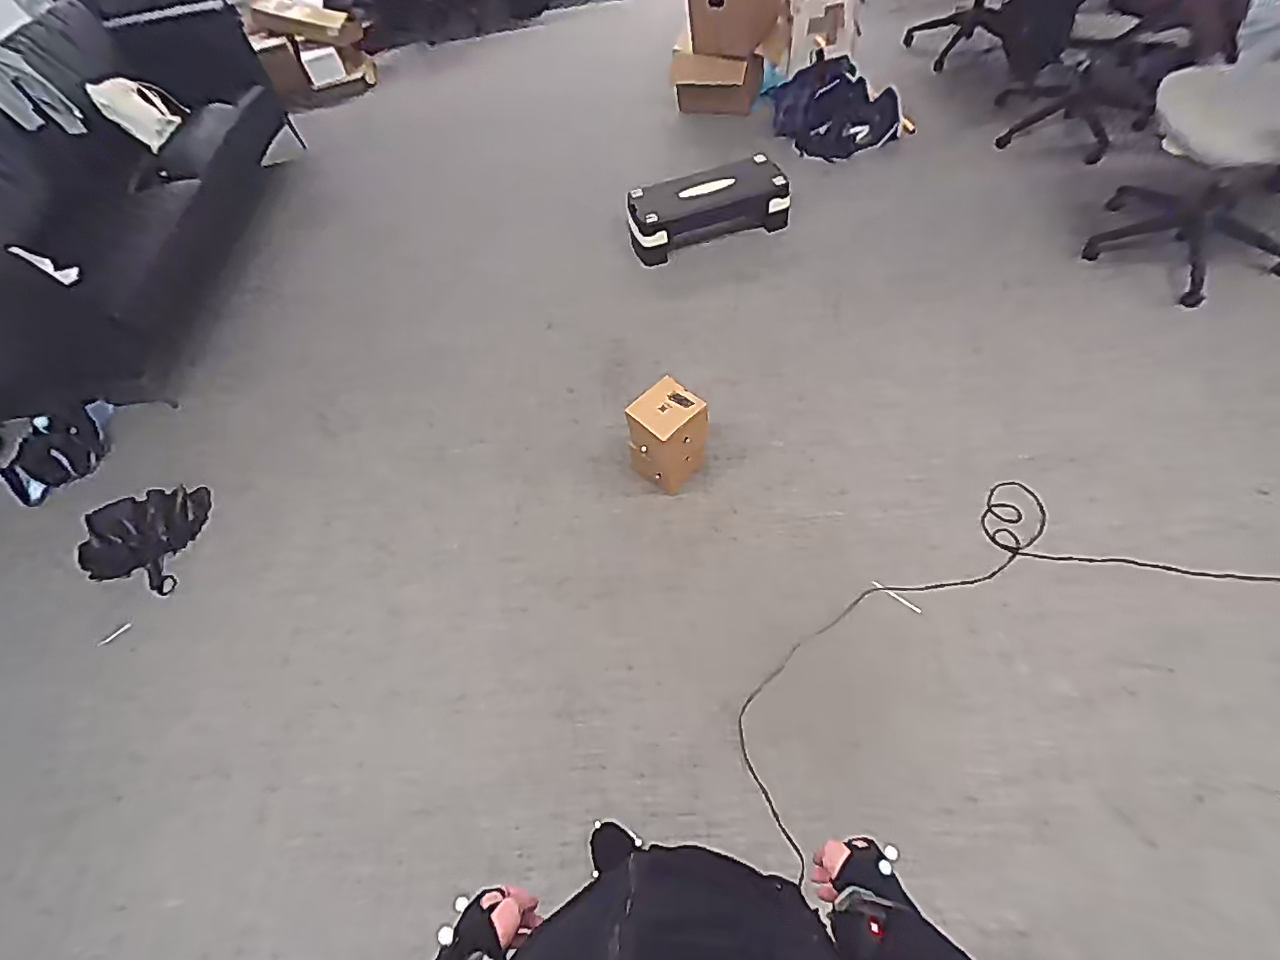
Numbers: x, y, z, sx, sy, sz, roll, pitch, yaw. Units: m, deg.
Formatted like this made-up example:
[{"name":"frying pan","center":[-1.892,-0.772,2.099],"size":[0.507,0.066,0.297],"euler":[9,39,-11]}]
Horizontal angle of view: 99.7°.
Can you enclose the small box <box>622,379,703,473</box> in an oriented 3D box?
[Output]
[{"name":"small box","center":[0.071,-0.158,1.604],"size":[0.179,0.176,0.168],"euler":[-41,62,-16]}]

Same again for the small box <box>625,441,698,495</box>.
[{"name":"small box","center":[0.078,-0.083,1.751],"size":[0.168,0.176,0.179],"euler":[33,67,24]}]
